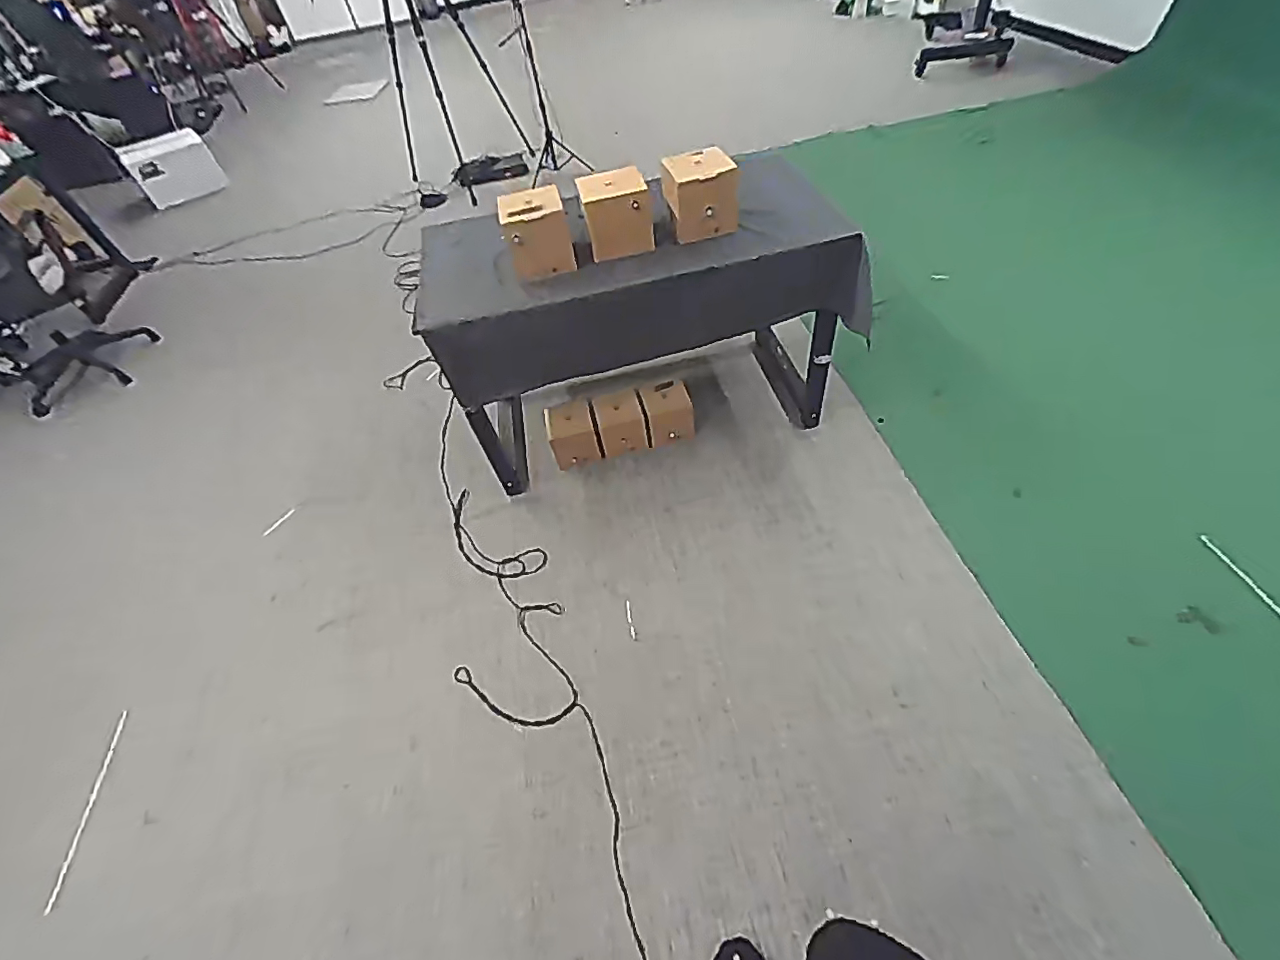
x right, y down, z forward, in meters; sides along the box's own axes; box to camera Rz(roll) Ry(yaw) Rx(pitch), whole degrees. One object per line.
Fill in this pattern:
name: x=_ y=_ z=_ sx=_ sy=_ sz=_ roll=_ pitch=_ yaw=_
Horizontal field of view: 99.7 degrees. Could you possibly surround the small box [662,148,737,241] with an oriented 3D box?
small box: x=0.166 y=-0.783 z=1.499 sx=0.168 sy=0.176 sz=0.179 roll=-14 pitch=51 yaw=-4
